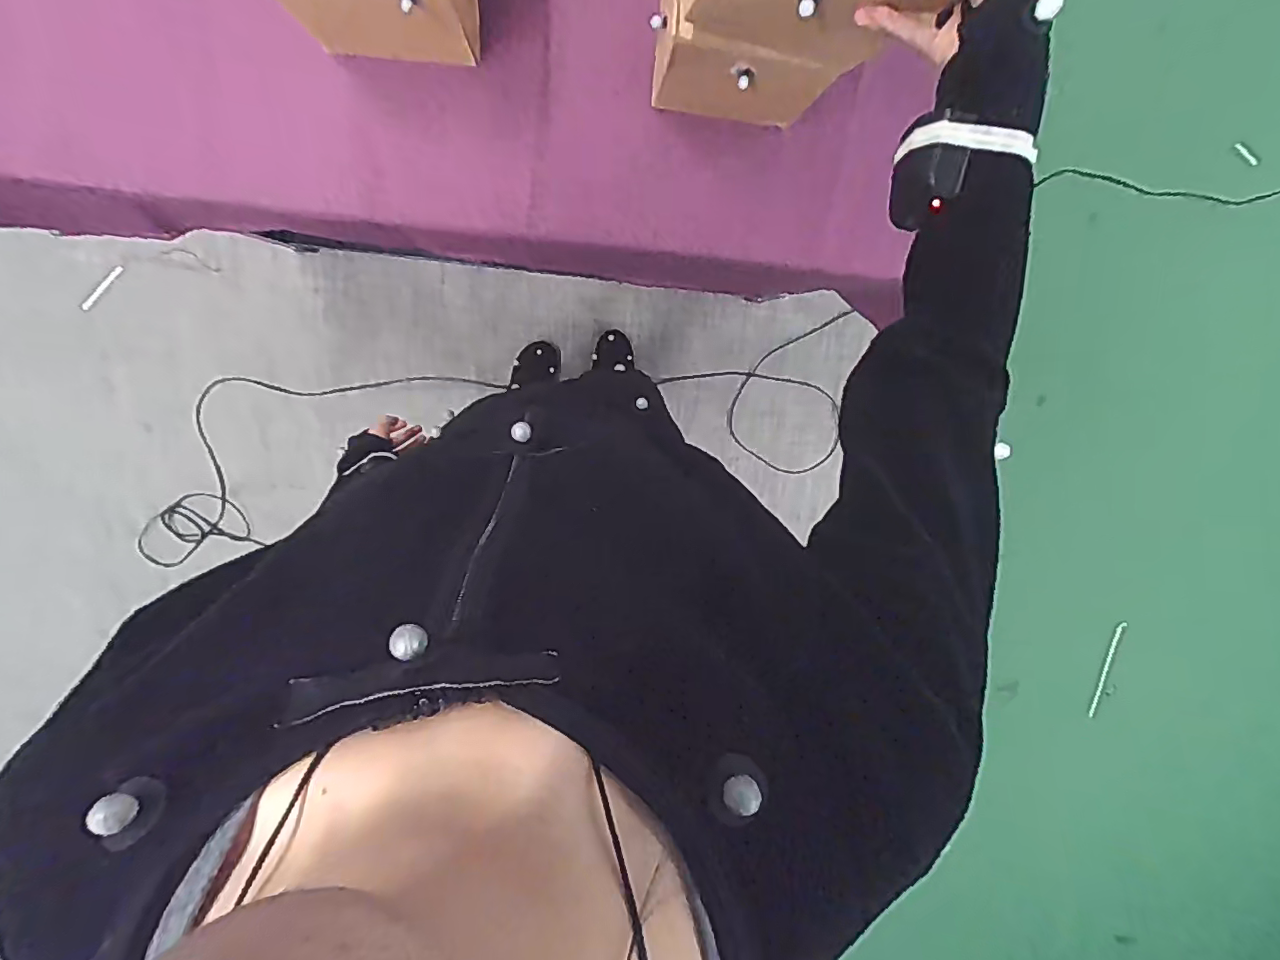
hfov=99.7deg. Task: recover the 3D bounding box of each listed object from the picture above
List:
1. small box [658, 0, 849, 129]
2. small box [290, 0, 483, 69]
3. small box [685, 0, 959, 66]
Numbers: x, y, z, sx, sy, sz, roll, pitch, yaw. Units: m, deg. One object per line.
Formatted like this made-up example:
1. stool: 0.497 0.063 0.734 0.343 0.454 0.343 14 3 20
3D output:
1. small box: 0.118 -0.502 0.576 0.179 0.176 0.168 4 105 -7
2. small box: -0.262 -0.542 0.533 0.179 0.176 0.168 0 104 -6
3. small box: 0.149 -0.453 0.410 0.179 0.176 0.168 5 107 -13
